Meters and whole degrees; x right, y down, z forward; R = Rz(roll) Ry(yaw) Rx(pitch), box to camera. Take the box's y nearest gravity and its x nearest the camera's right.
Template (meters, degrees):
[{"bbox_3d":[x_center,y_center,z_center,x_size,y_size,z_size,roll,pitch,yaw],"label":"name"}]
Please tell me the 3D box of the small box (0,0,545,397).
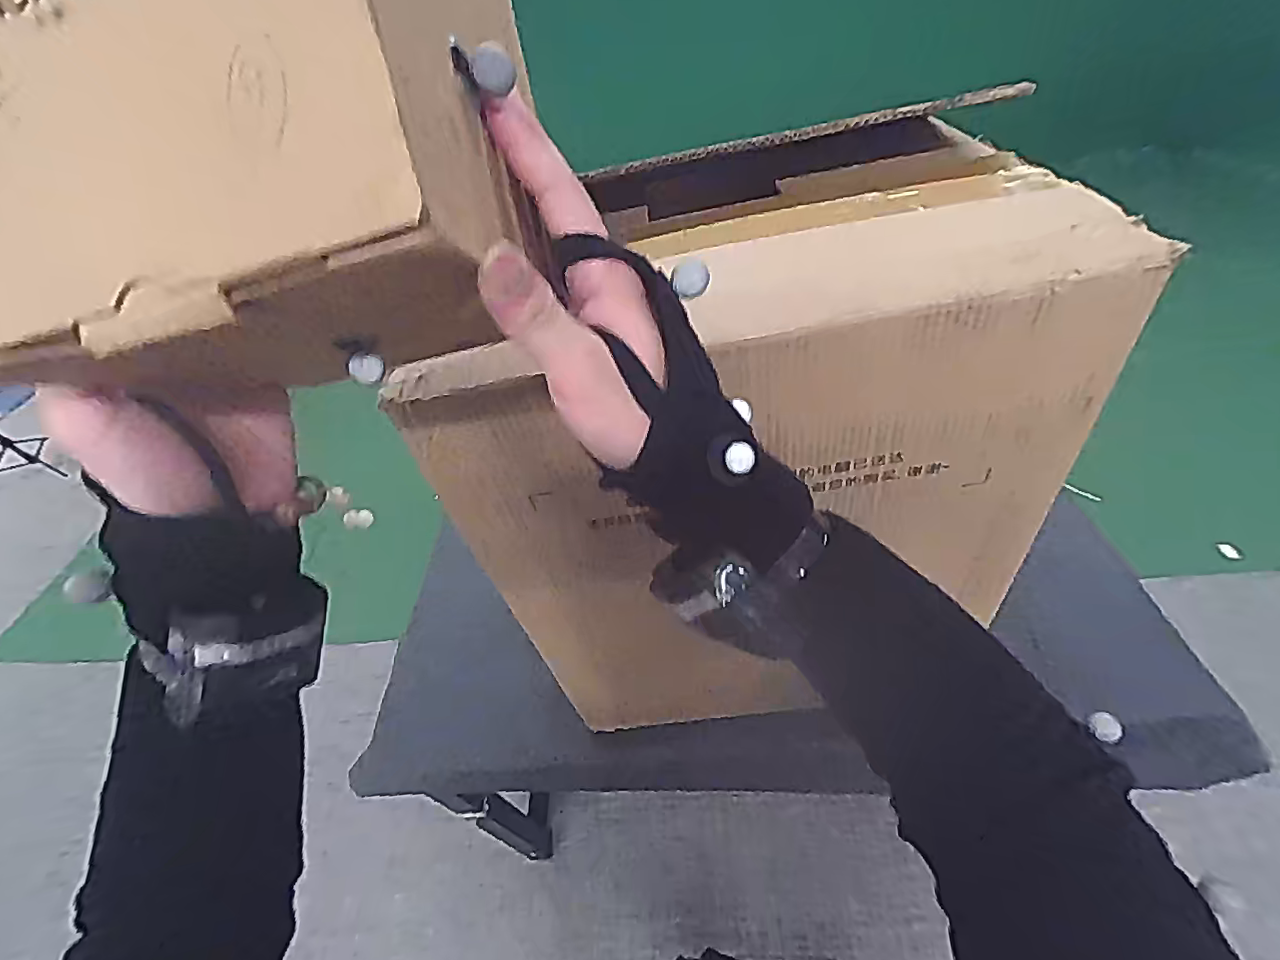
[{"bbox_3d":[-0.149,-0.135,0.203,0.168,0.179,0.176,-12,9,8],"label":"small box"}]
